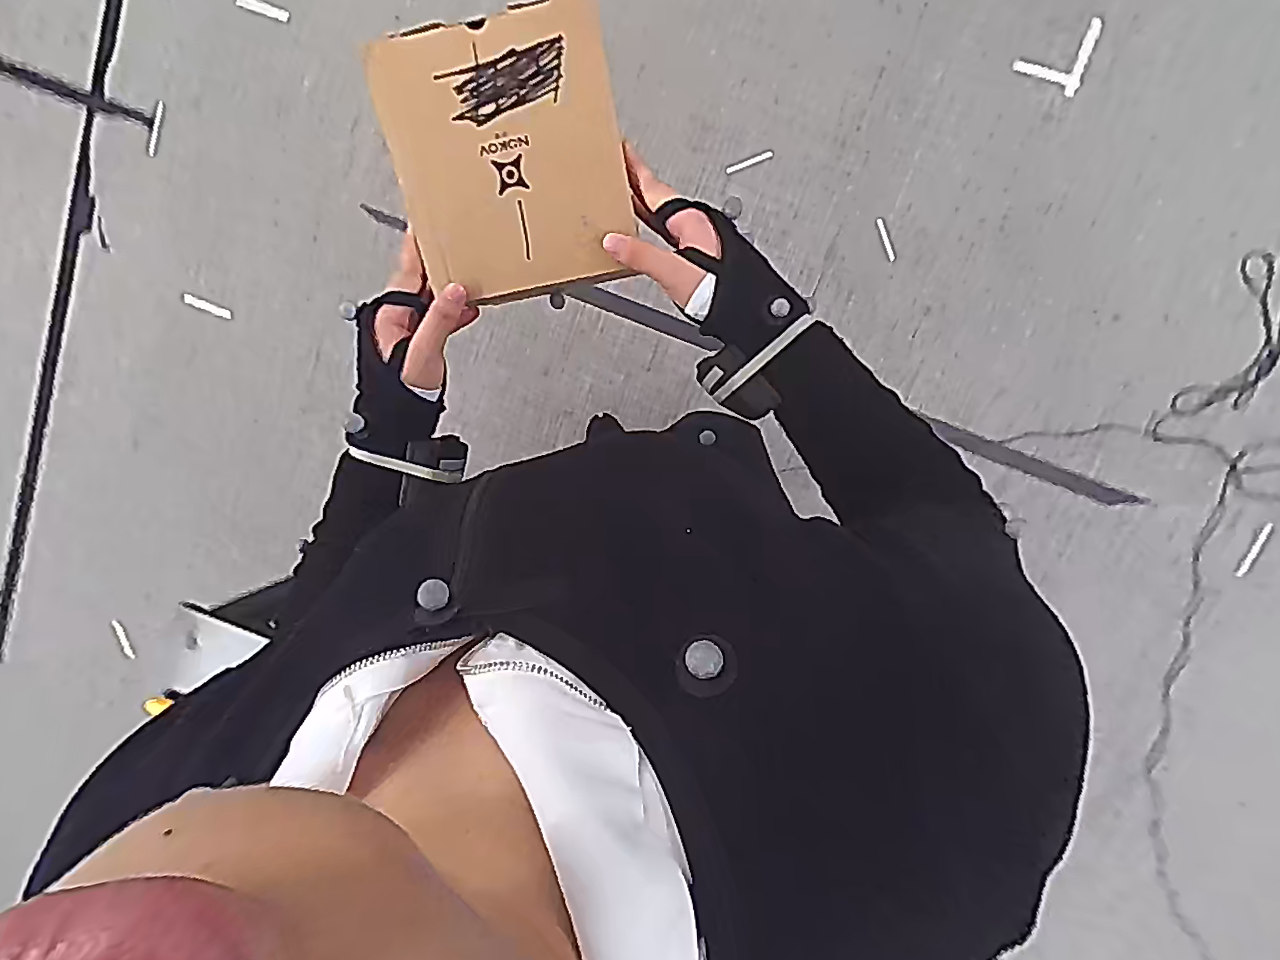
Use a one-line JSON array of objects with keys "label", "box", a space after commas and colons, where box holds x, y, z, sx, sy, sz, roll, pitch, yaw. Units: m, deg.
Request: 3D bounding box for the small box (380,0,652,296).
[{"label": "small box", "box": [-0.085, -0.261, 0.465, 0.168, 0.176, 0.179, -9, 109, 4]}]
